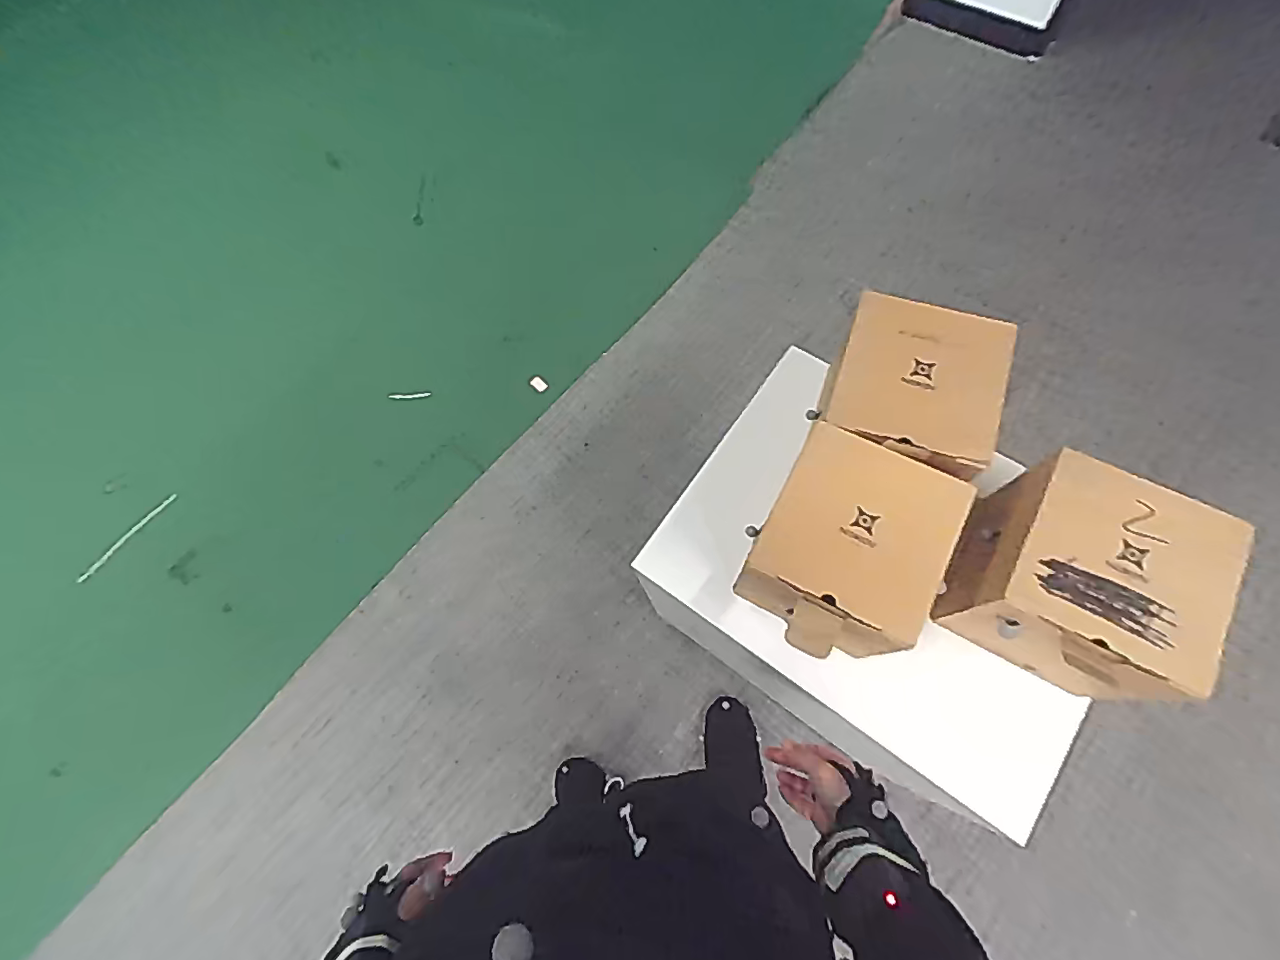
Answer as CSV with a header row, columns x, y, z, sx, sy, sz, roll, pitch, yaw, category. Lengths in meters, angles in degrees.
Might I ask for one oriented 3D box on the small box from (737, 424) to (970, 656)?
x,y,z,sx,sy,sz,roll,pitch,yaw,category
0.216,0.074,0.594,0.168,0.176,0.179,26,74,14,small box
